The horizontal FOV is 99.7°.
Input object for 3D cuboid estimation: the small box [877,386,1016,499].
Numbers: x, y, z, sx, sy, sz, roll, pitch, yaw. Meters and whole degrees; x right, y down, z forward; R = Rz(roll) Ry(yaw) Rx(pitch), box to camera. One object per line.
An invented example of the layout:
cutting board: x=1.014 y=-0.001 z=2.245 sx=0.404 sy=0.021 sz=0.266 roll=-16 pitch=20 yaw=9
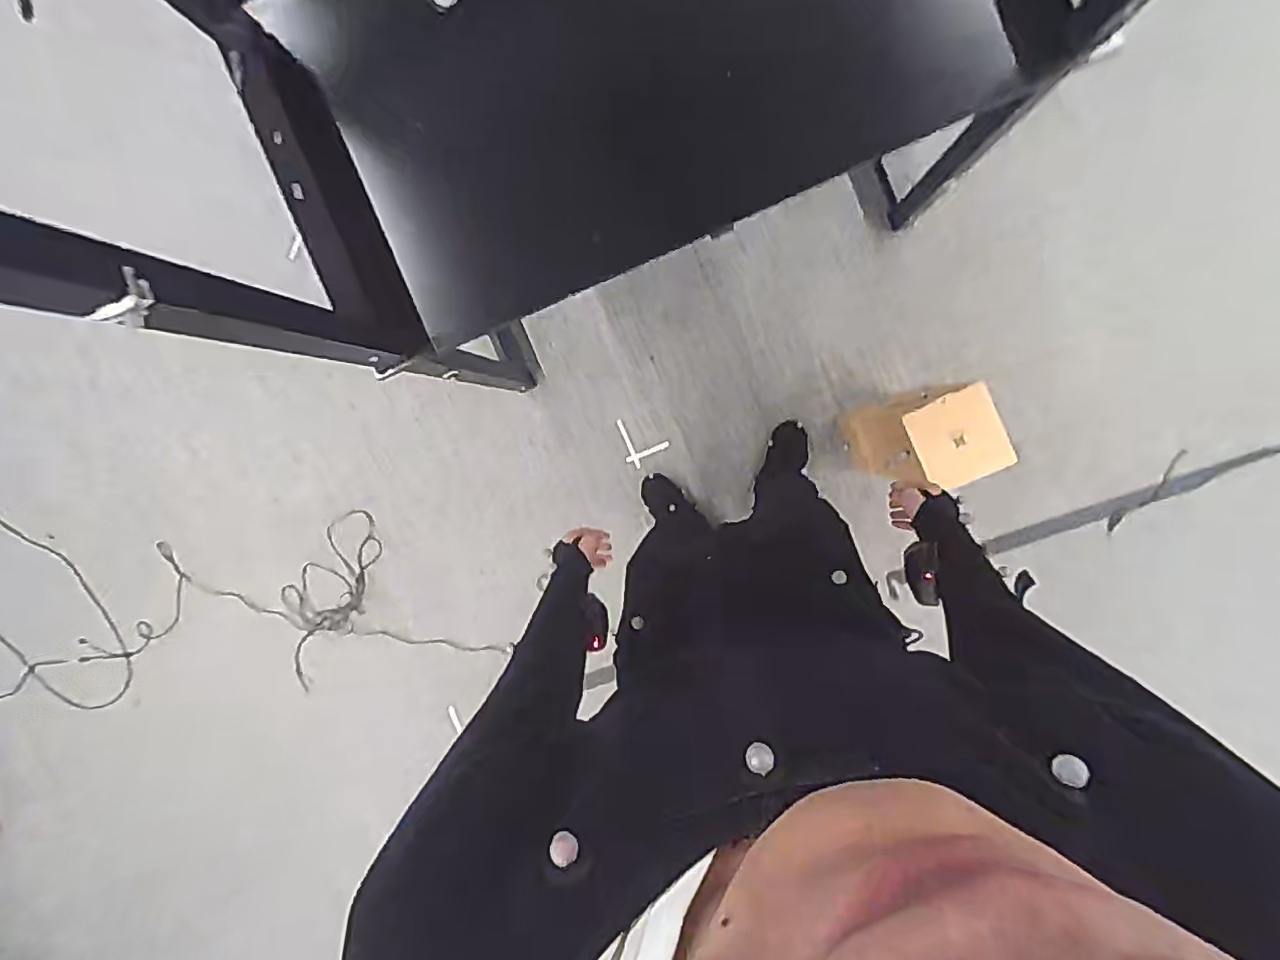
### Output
small box: x=0.625 y=-0.081 z=1.123 sx=0.168 sy=0.176 sz=0.179 roll=-25 pitch=92 yaw=8

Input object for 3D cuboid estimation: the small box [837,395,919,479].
small box: x=0.655 y=-0.116 z=1.447 sx=0.179 sy=0.176 sz=0.168 roll=-23 pitch=92 yaw=8
